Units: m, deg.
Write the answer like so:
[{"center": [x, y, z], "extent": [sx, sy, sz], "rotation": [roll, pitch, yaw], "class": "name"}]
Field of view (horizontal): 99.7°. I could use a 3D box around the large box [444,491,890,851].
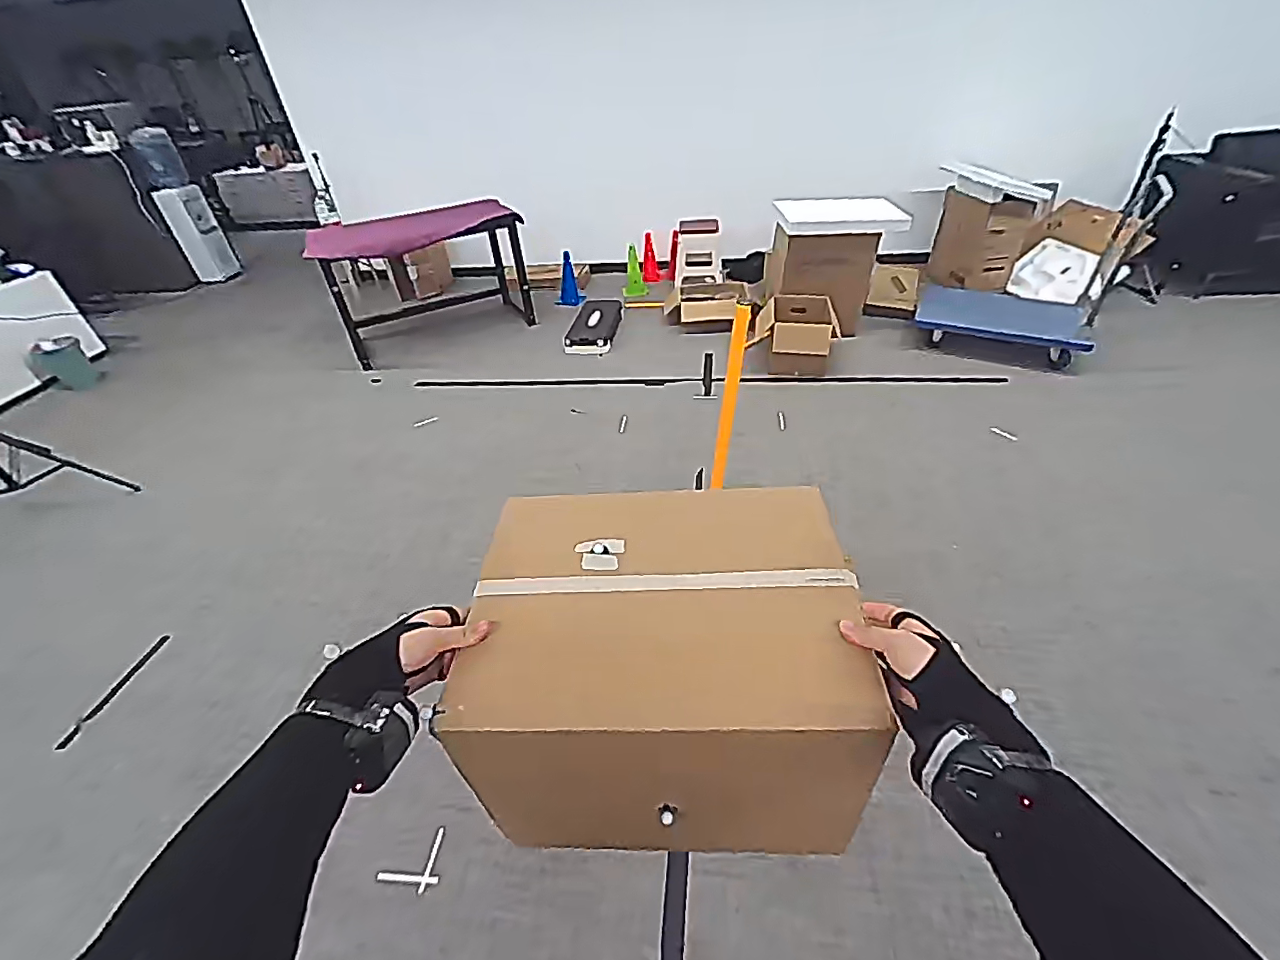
[{"center": [0.039, 0.240, 0.682], "extent": [0.408, 0.320, 0.320], "rotation": [-4, 38, 6], "class": "large box"}]
